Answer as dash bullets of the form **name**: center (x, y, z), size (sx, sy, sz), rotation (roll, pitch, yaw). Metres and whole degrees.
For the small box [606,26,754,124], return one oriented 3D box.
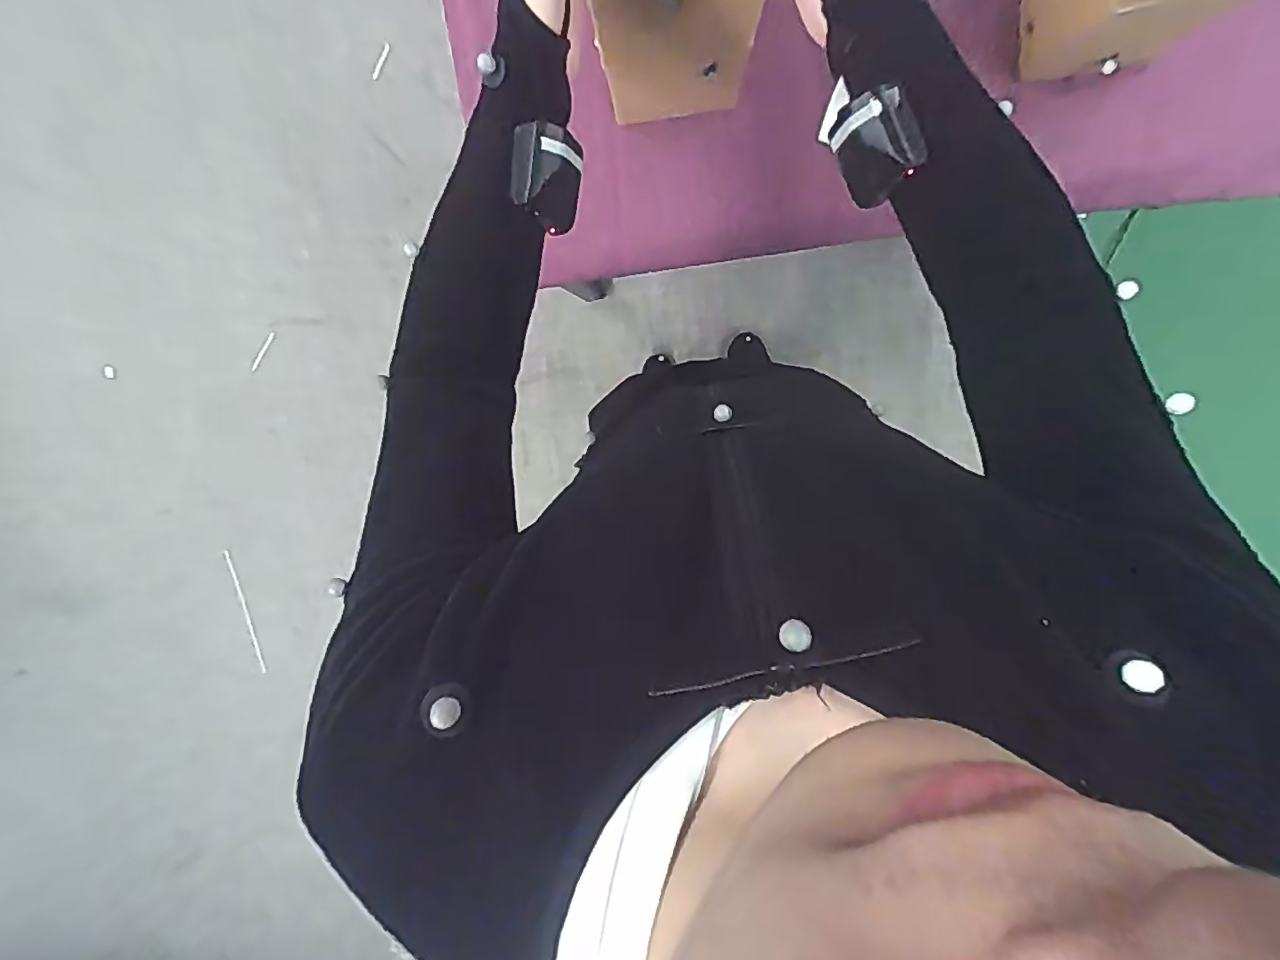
- **small box**: center (0.044, -0.589, 0.693), size (0.179, 0.176, 0.168), rotation (-5, 102, 5)

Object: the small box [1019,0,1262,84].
- **small box**: center (0.596, -0.612, 0.643), size (0.179, 0.176, 0.168), rotation (-6, 102, 6)

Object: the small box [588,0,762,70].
- **small box**: center (0.032, -0.549, 0.537), size (0.179, 0.176, 0.168), rotation (-5, 104, 6)

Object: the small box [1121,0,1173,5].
- **small box**: center (0.583, -0.576, 0.484), size (0.179, 0.176, 0.168), rotation (-5, 103, 6)
